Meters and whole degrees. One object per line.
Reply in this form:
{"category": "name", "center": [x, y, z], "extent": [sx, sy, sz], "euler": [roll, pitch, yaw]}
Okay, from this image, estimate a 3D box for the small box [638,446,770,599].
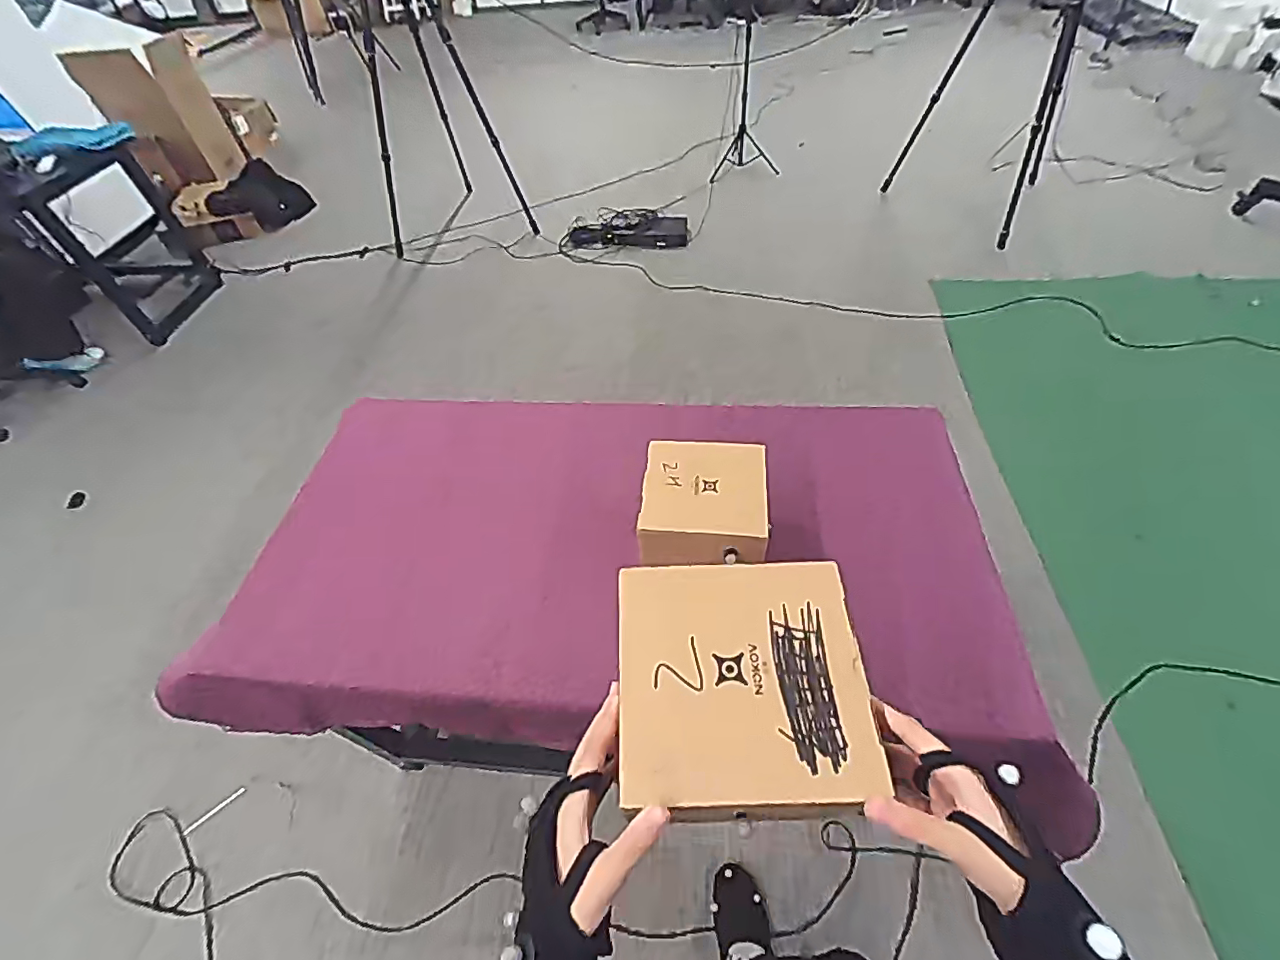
{"category": "small box", "center": [0.097, 0.068, 0.821], "extent": [0.179, 0.176, 0.168], "euler": [2, 50, 8]}
